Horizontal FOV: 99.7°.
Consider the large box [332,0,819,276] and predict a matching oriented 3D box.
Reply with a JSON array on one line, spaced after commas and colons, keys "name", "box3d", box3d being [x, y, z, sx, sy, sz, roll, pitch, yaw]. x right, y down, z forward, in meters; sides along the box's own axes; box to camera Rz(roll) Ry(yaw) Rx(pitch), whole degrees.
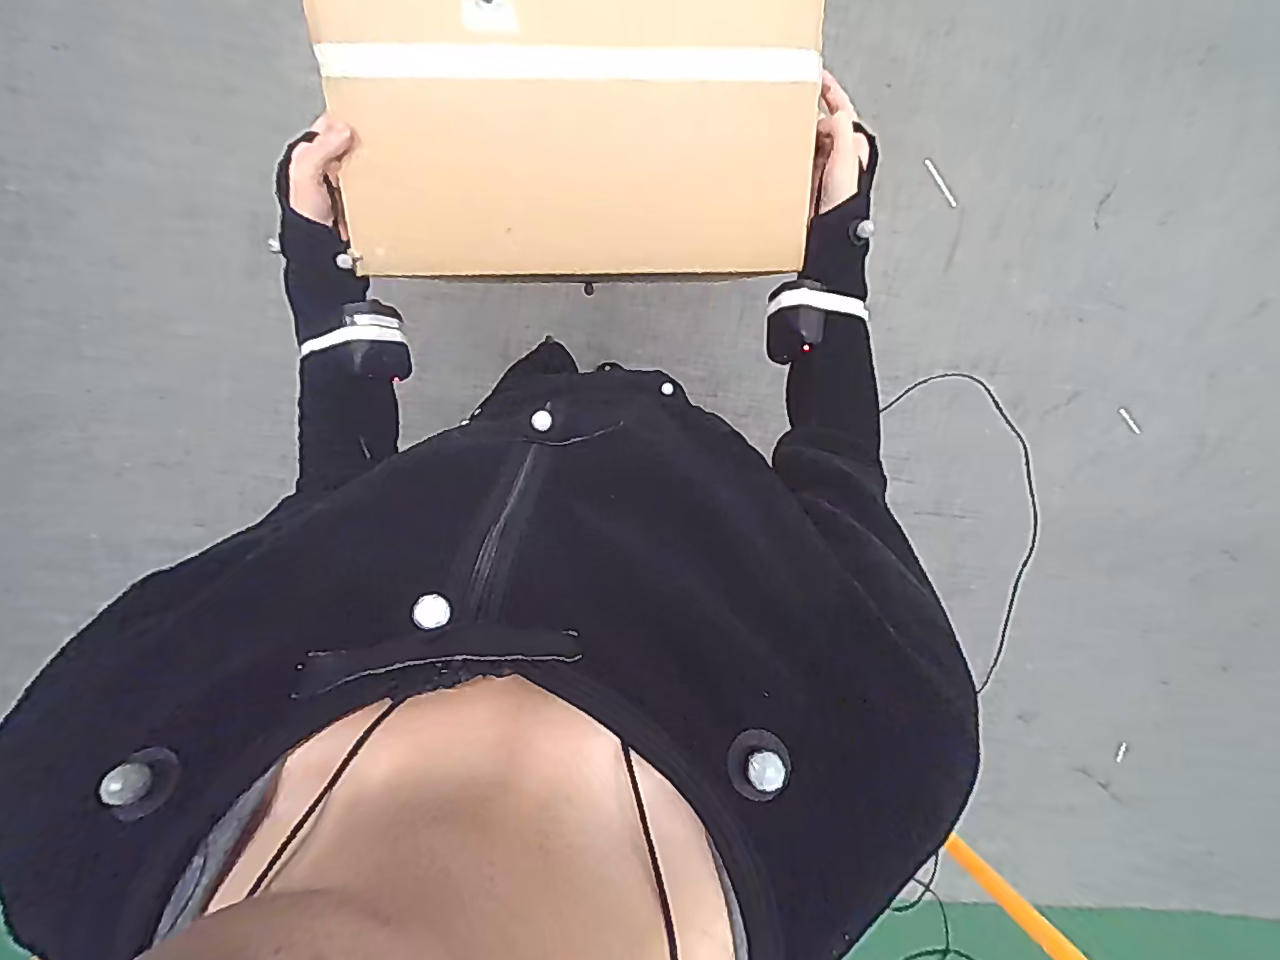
[{"name": "large box", "box3d": [-0.055, -0.395, 0.595, 0.408, 0.320, 0.320, -2, 108, -3]}]
